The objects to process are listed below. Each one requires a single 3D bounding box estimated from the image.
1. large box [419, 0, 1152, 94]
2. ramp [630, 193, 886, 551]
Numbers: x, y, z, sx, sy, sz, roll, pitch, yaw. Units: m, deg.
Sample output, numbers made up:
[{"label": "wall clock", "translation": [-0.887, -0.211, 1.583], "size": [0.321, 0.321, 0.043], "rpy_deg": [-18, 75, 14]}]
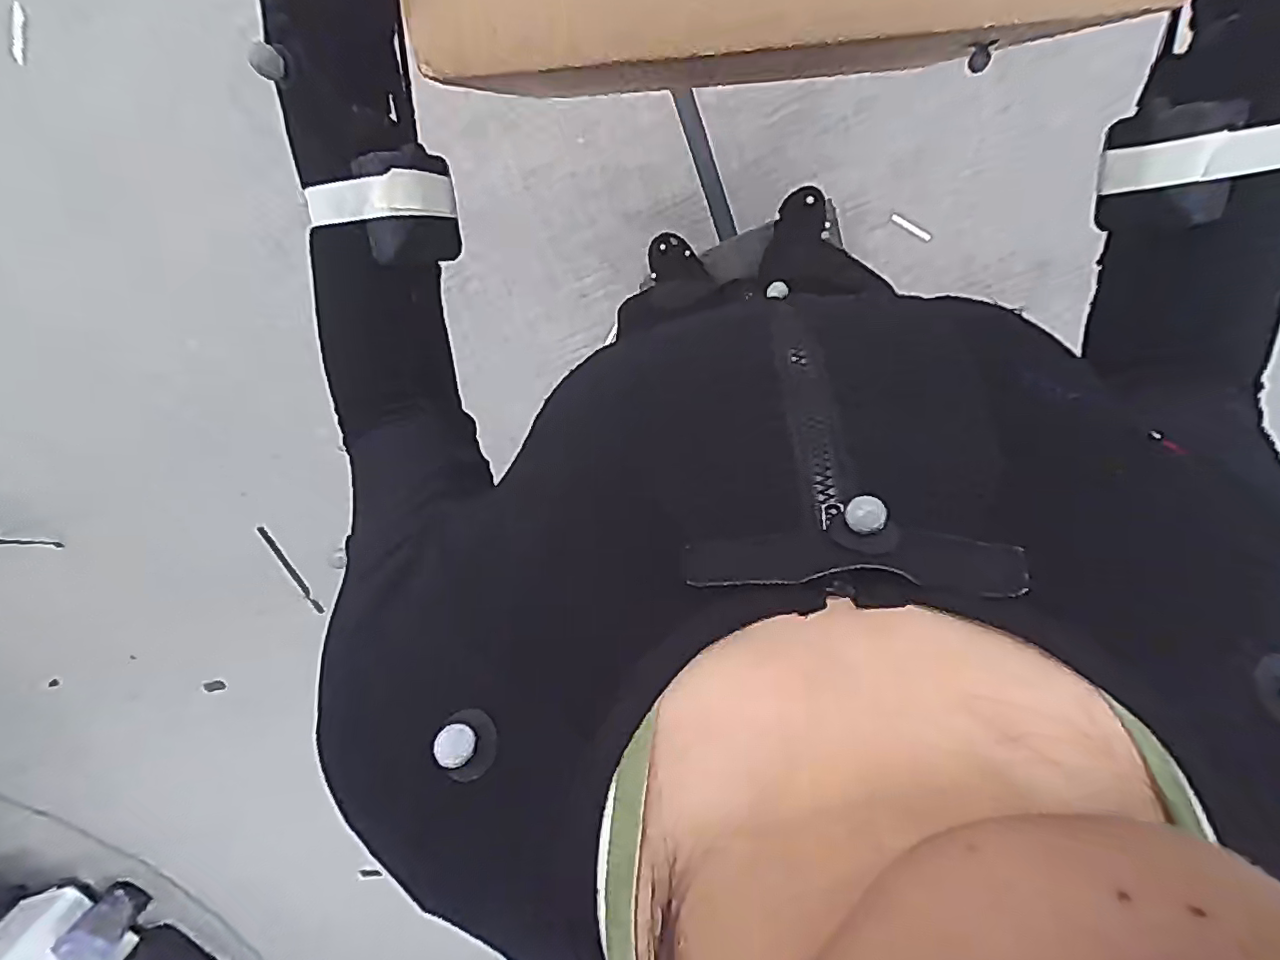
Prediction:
[{"label": "large box", "translation": [0.074, -0.450, 0.342], "size": [0.408, 0.320, 0.320], "rpy_deg": [-2, 123, 3]}, {"label": "ramp", "translation": [0.391, -0.214, 1.557], "size": [0.509, 0.206, 0.991], "rpy_deg": [-22, 112, 12]}]
